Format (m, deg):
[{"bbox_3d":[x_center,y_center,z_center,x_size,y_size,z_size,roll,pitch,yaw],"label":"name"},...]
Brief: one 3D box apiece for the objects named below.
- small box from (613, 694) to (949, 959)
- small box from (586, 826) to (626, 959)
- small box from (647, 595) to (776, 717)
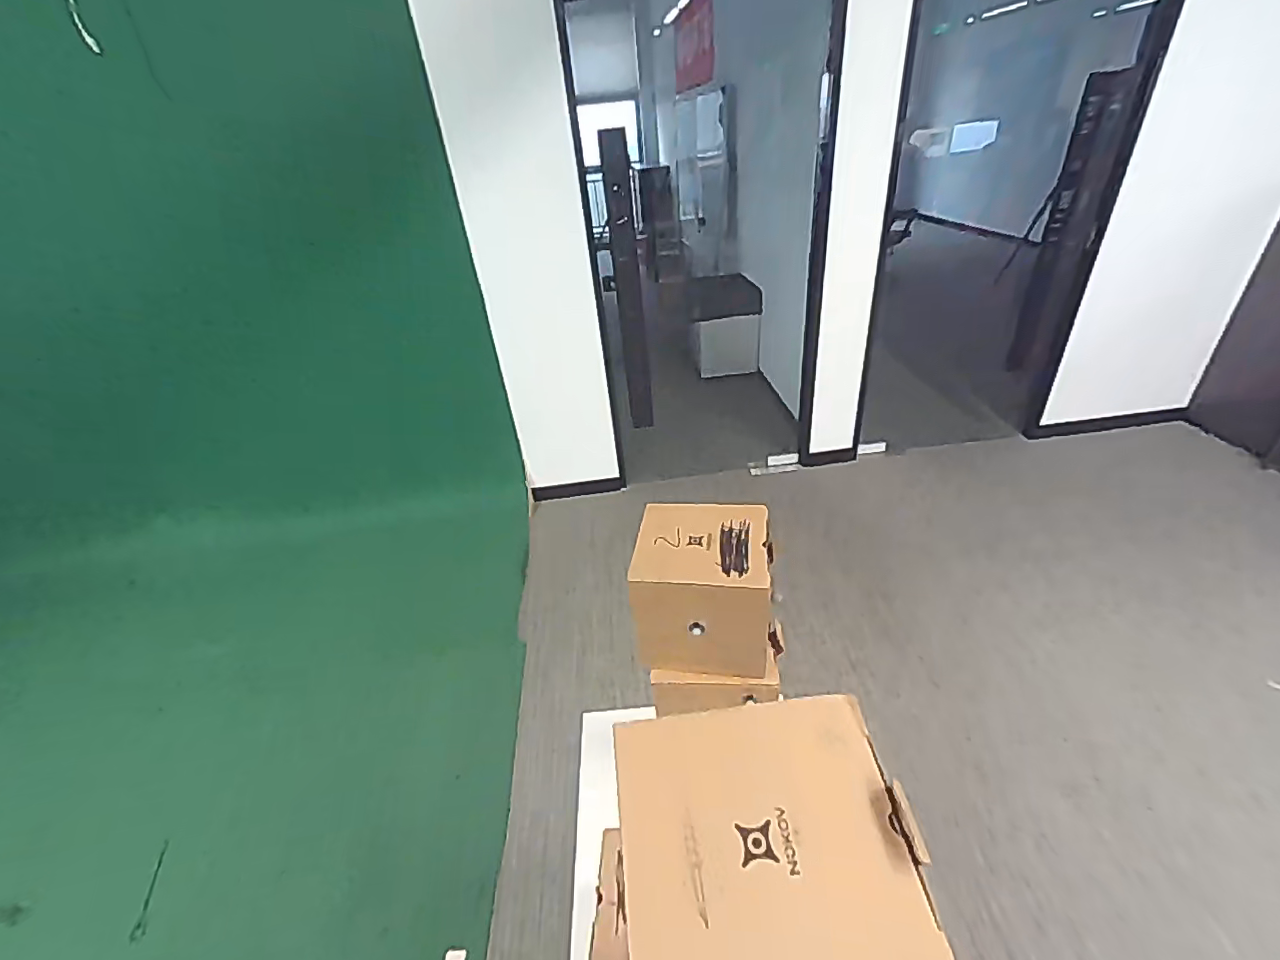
[{"bbox_3d":[0.080,0.278,0.389,0.179,0.176,0.168,-8,45,0],"label":"small box"},{"bbox_3d":[0.035,0.582,0.703,0.179,0.176,0.168,-2,32,5],"label":"small box"},{"bbox_3d":[0.110,0.297,0.834,0.179,0.176,0.168,-2,33,6],"label":"small box"}]
